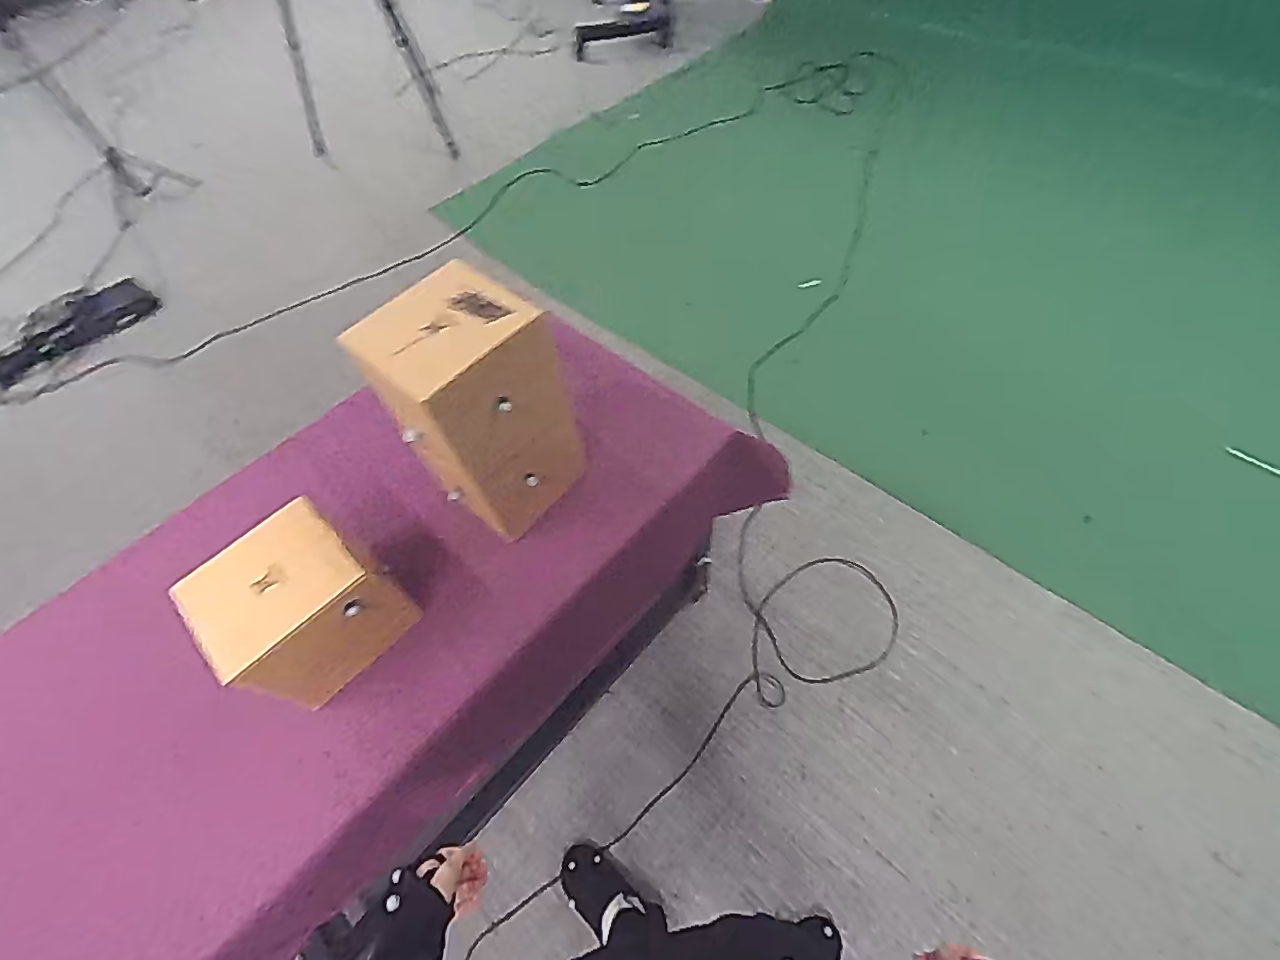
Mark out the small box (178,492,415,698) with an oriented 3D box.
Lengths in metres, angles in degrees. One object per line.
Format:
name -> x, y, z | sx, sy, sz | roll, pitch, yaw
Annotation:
small box -> -0.439, 0.157, 0.716 | 0.168, 0.176, 0.179 | 37, 66, 25

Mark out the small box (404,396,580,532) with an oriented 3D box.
small box -> -0.212, -0.051, 0.827 | 0.168, 0.176, 0.179 | 34, 67, 23

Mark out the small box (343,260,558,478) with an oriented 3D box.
small box -> -0.222, -0.138, 0.688 | 0.168, 0.176, 0.179 | 35, 67, 24
